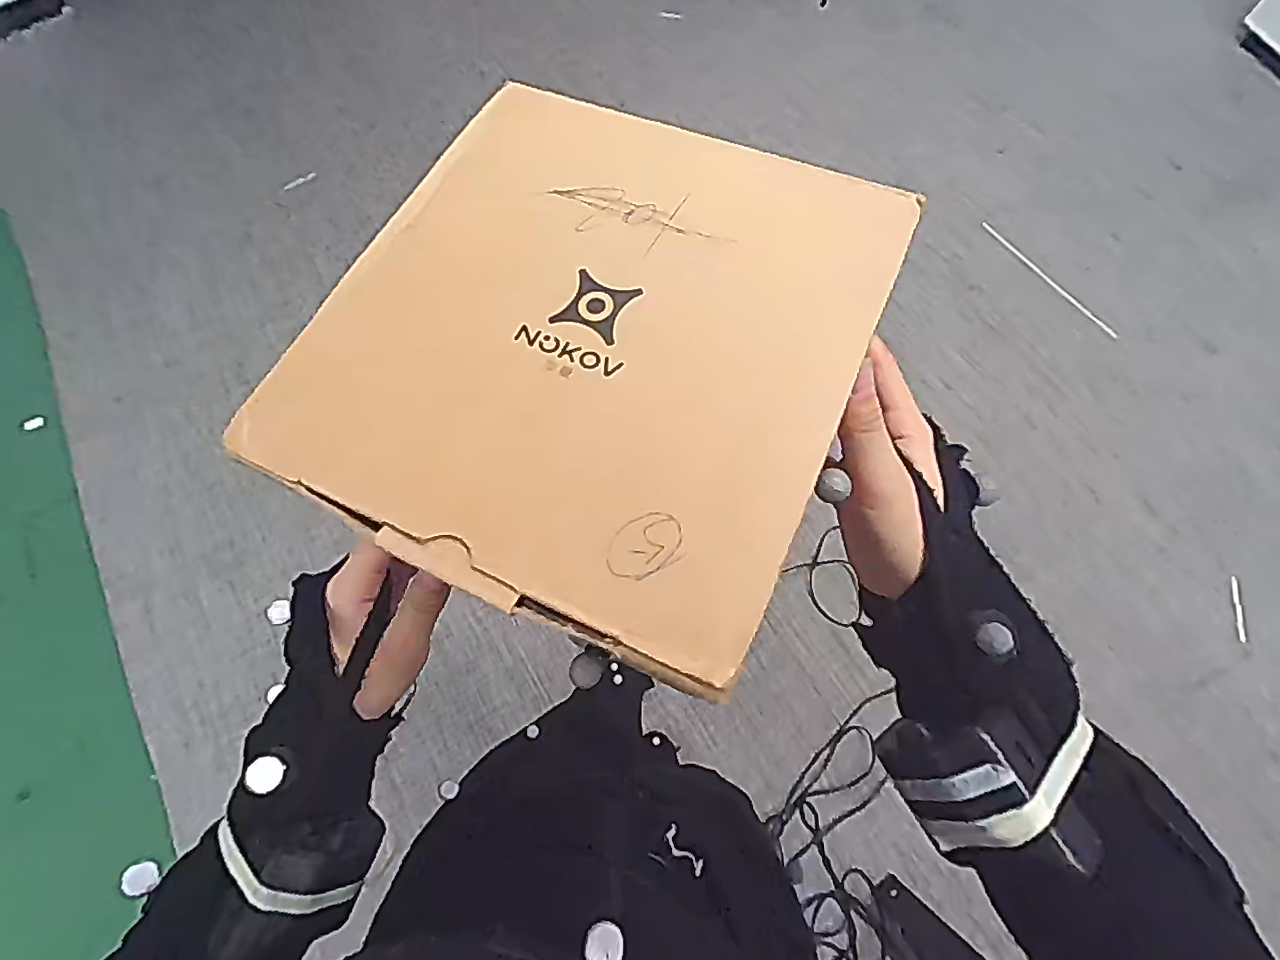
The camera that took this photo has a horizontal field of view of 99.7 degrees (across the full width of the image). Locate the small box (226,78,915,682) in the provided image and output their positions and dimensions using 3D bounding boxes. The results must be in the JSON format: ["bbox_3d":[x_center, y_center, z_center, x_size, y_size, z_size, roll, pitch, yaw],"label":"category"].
[{"bbox_3d":[-0.012,-0.025,0.245,0.168,0.176,0.179,23,71,11],"label":"small box"}]
